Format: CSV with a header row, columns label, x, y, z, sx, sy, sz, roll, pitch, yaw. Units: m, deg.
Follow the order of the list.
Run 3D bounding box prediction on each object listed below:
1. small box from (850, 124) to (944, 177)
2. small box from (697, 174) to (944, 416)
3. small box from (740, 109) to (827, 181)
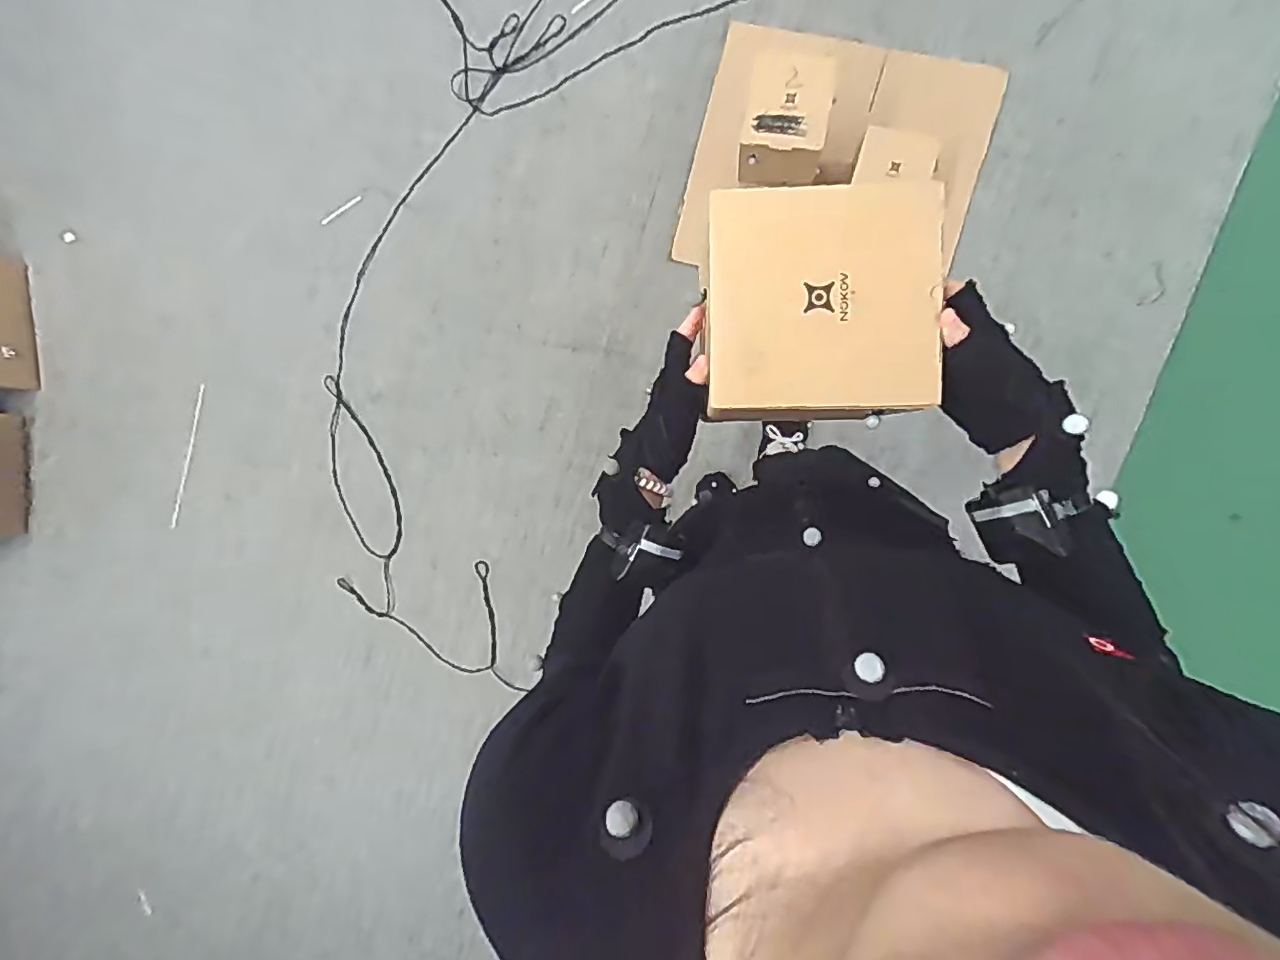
label,x,y,z,sx,sy,sz,roll,pitch,yaw
small box,0.580,-0.693,1.278,0.168,0.176,0.179,16,96,9
small box,0.141,-0.145,0.482,0.179,0.176,0.168,-1,93,2
small box,0.338,-0.752,1.308,0.168,0.176,0.179,12,95,8
